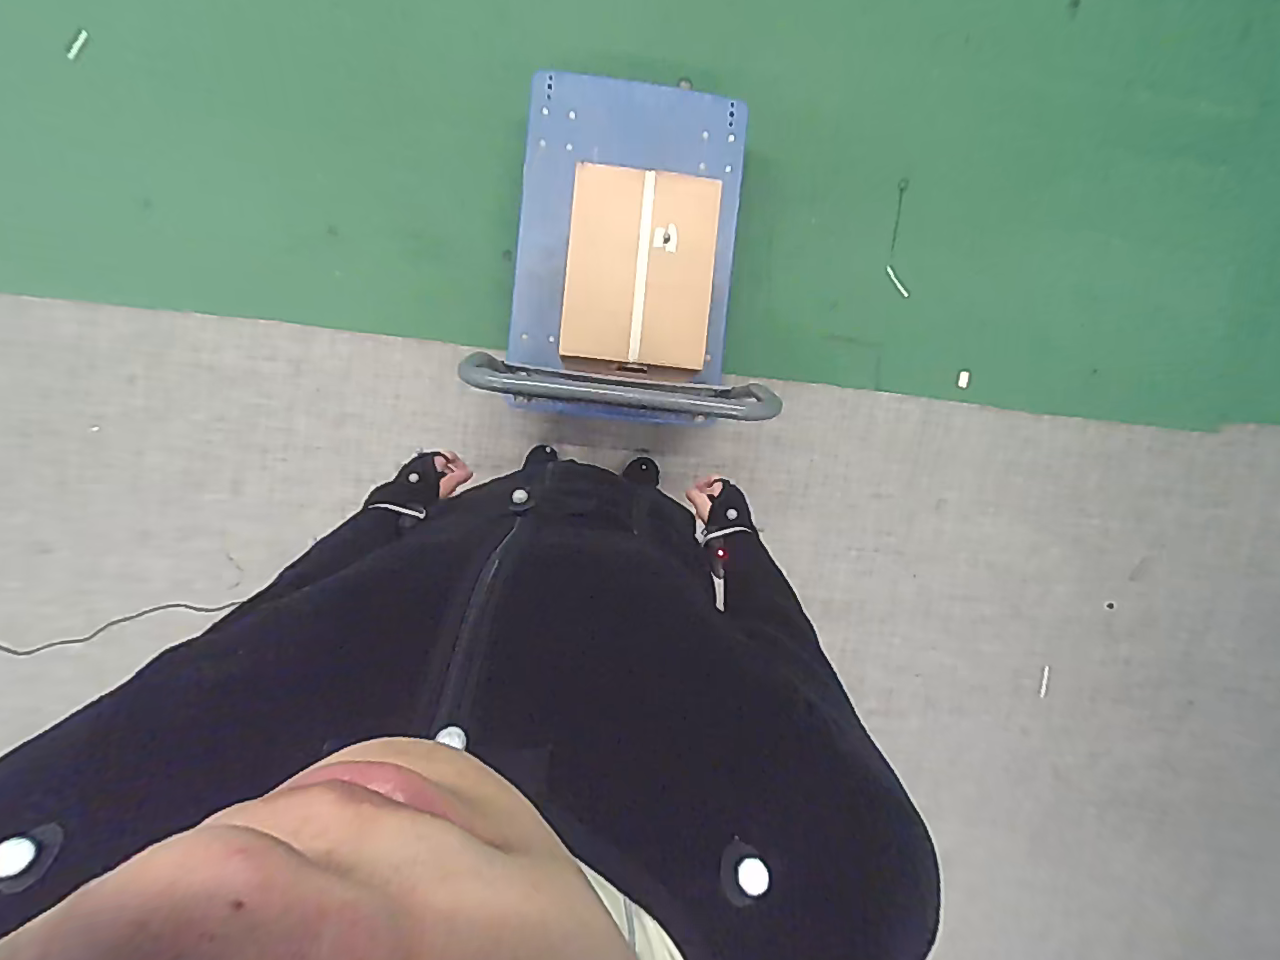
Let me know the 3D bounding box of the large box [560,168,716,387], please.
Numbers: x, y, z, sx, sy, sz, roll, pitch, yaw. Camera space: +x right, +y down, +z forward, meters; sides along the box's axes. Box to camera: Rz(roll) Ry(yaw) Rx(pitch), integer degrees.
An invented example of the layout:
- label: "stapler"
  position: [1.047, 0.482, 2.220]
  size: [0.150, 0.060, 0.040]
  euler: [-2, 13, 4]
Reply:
- label: "large box"
  position: [-0.013, -0.450, 1.295]
  size: [0.320, 0.320, 0.408]
  euler: [5, 91, -5]
